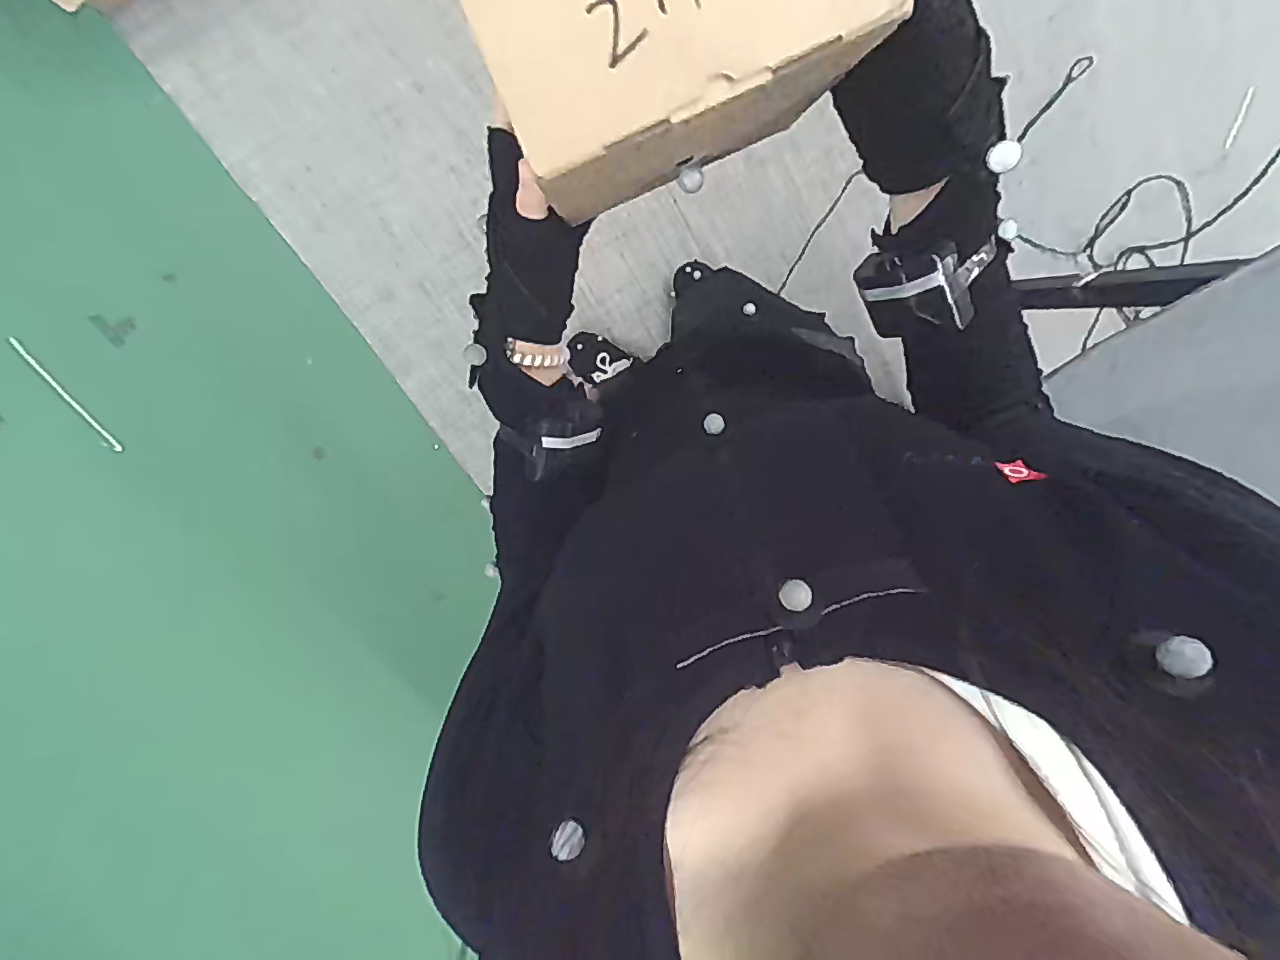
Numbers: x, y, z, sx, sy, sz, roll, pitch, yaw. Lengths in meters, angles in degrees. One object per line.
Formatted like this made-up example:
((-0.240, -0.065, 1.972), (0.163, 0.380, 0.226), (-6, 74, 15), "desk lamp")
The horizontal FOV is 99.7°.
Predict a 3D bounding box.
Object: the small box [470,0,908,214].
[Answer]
((-0.001, -0.259, 0.264), (0.168, 0.176, 0.179), (-21, 108, 6), "small box")
